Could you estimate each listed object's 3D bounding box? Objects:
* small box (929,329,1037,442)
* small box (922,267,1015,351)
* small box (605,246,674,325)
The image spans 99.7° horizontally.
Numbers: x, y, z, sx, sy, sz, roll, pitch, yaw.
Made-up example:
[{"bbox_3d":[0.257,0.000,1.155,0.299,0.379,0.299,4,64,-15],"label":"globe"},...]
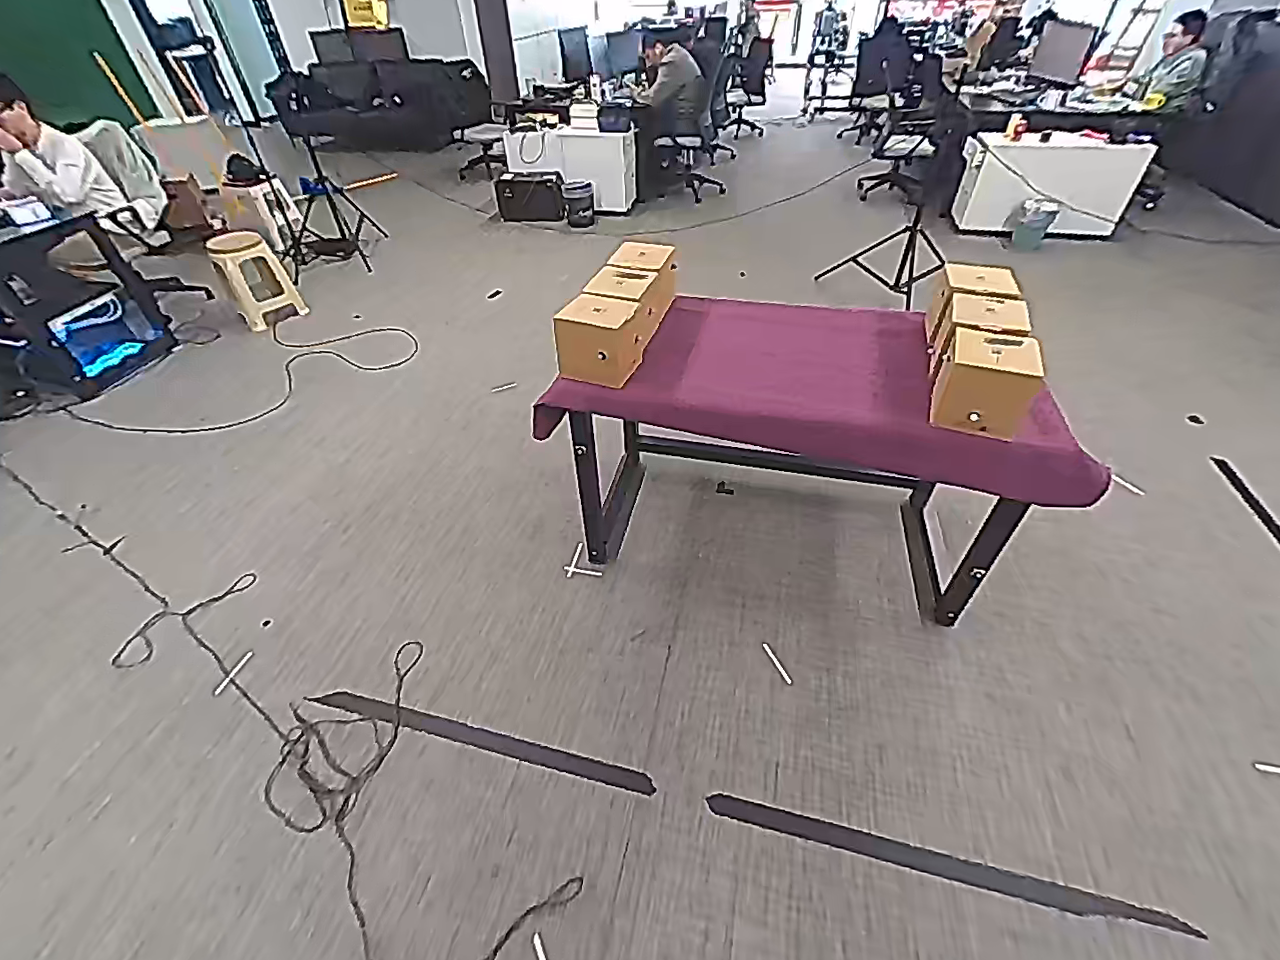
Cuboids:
[{"bbox_3d":[0.770,-0.215,1.223,0.168,0.176,0.179,15,49,22],"label":"small box"},{"bbox_3d":[0.893,-0.464,1.491,0.168,0.176,0.179,12,44,13],"label":"small box"},{"bbox_3d":[0.002,-0.601,1.666,0.168,0.176,0.179,11,45,14],"label":"small box"}]
